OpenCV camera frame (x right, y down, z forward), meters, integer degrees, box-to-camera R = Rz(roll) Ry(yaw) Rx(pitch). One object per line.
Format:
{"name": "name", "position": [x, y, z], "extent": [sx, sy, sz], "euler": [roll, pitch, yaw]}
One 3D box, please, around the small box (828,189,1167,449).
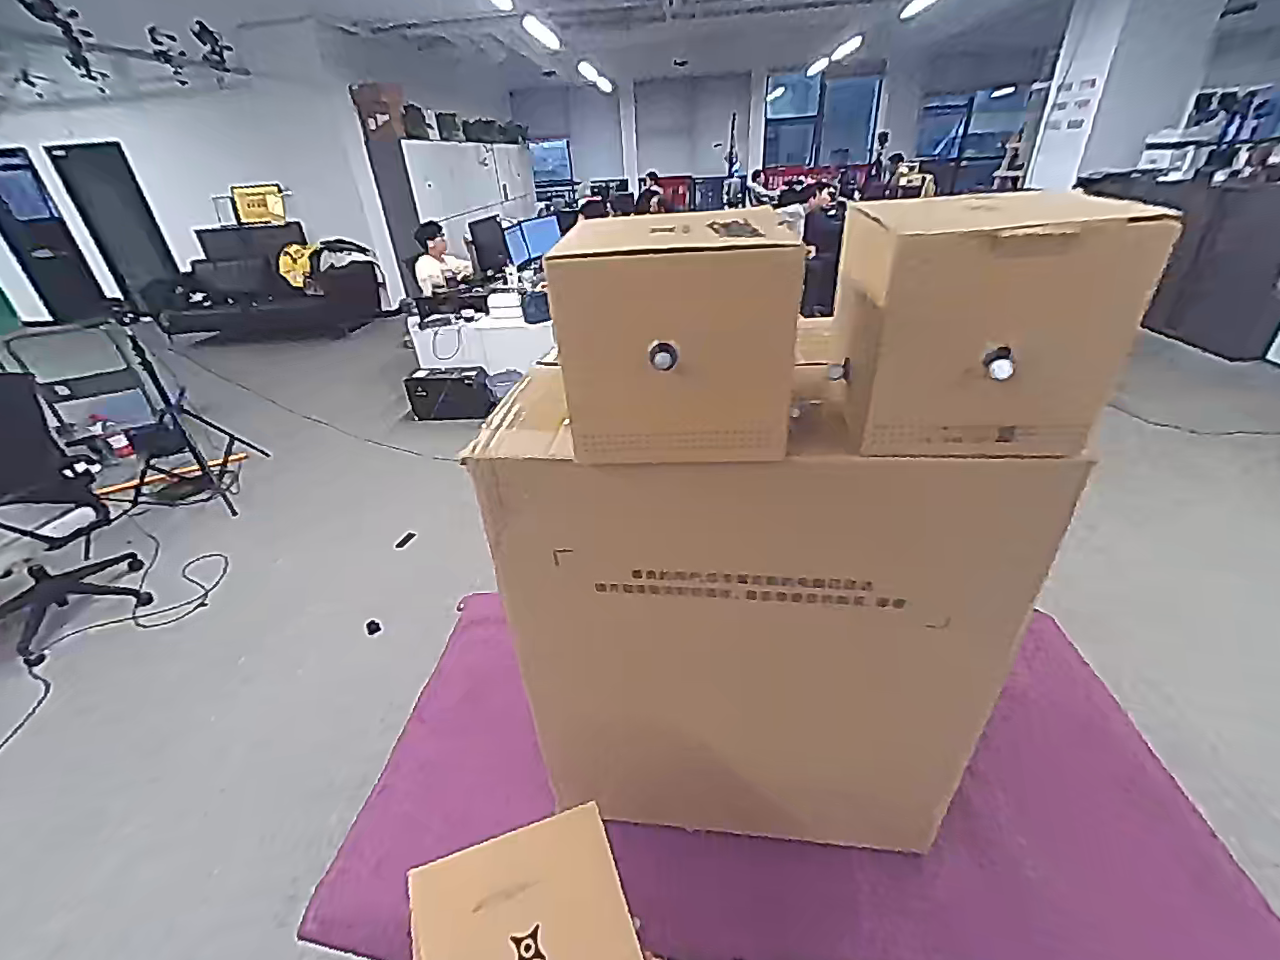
{"name": "small box", "position": [0.263, -0.136, 0.456], "extent": [0.168, 0.176, 0.179], "euler": [1, 33, 8]}

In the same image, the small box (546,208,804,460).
{"name": "small box", "position": [0.034, -0.128, 0.470], "extent": [0.179, 0.176, 0.168], "euler": [-2, 32, 7]}
